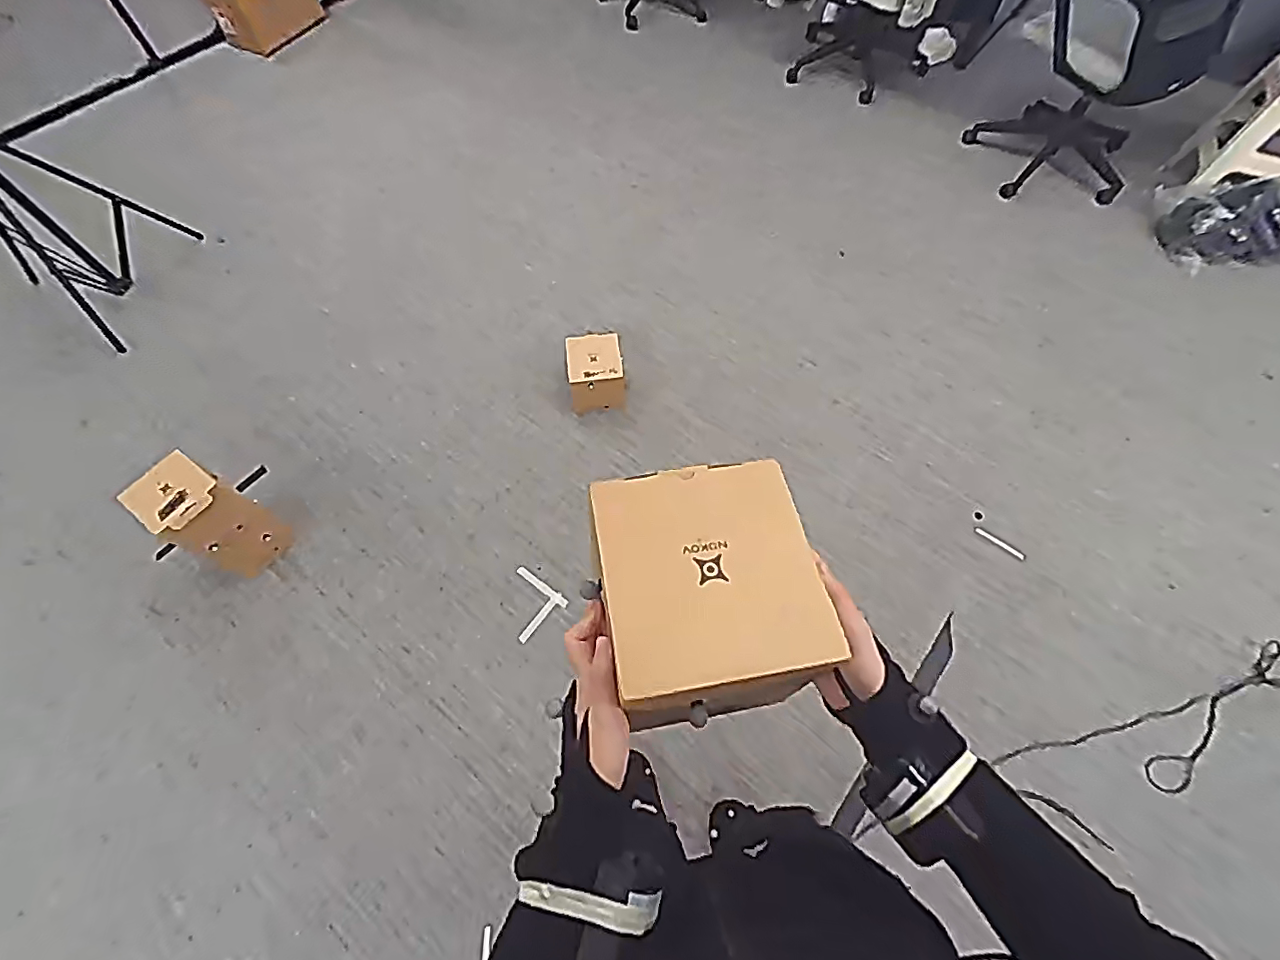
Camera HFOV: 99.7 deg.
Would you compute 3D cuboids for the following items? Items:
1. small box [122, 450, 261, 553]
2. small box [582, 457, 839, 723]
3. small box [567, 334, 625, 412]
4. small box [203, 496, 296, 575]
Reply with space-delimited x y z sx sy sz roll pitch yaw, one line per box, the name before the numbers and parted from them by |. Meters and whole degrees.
small box | -1.106 0.063 1.351 0.179 0.176 0.168 31 67 17
small box | 0.044 0.106 0.480 0.168 0.176 0.179 -8 58 -8
small box | -0.138 -0.337 1.716 0.168 0.176 0.179 -7 63 -3
small box | -1.106 0.142 1.496 0.179 0.176 0.168 30 67 17
